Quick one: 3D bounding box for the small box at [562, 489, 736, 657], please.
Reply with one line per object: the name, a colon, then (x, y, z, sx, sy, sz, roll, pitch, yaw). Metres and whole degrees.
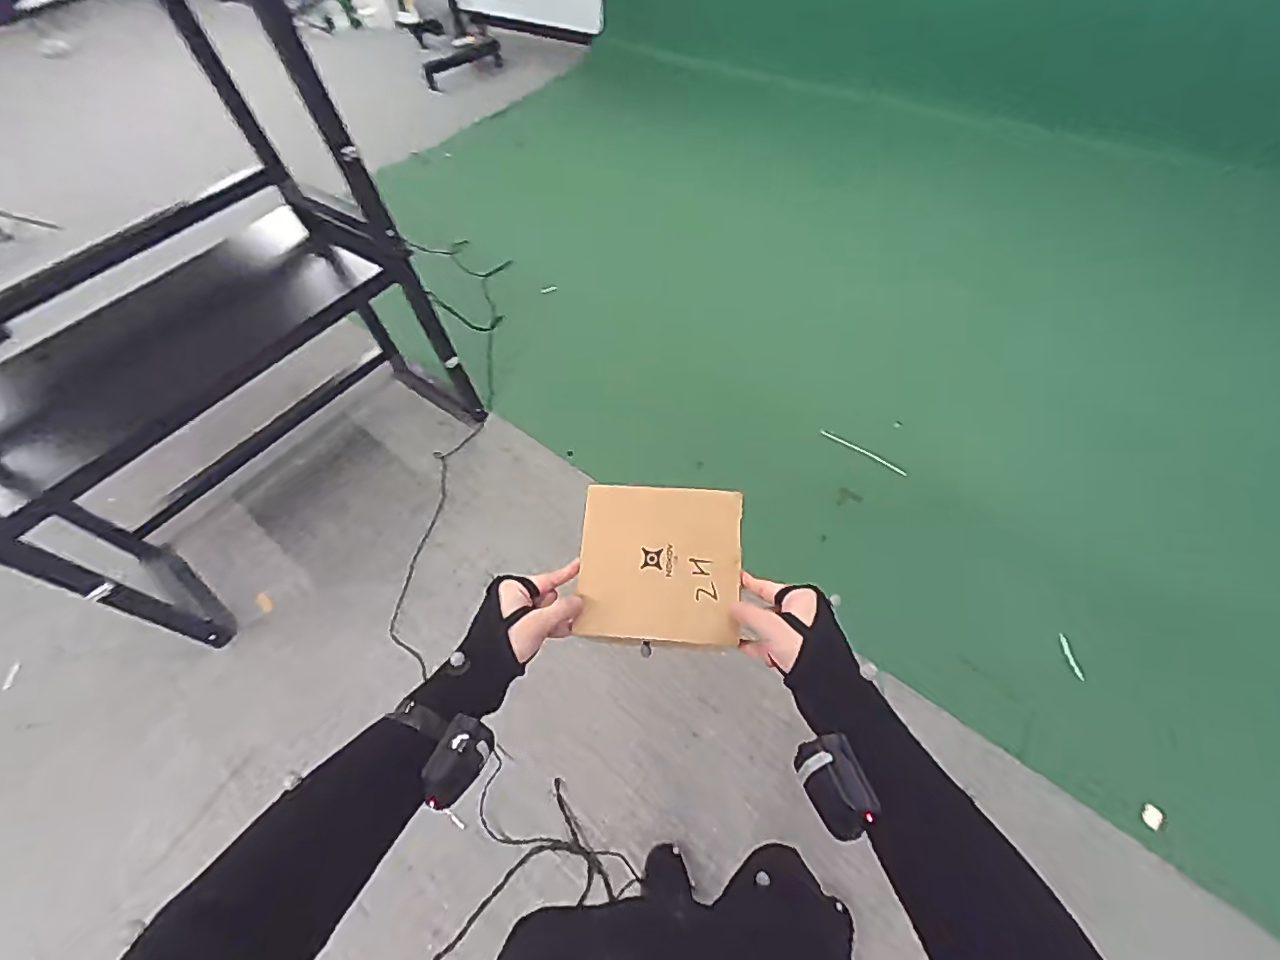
small box: (0.018, 0.118, 0.648, 0.179, 0.176, 0.168, 3, 70, 5)
